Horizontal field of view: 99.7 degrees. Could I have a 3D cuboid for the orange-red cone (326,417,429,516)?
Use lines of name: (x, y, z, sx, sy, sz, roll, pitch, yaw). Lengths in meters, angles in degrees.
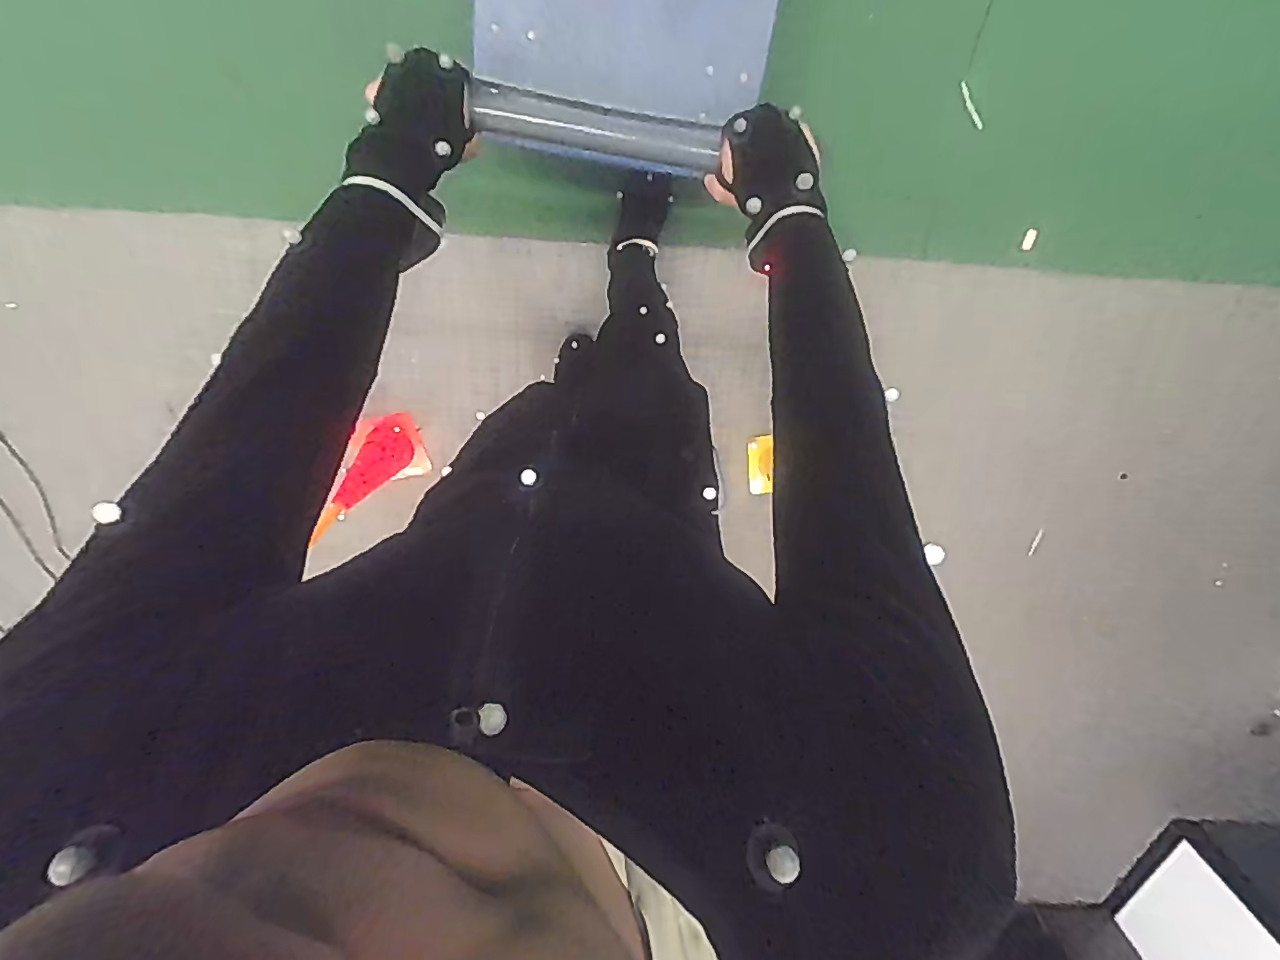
orange-red cone: (-0.741, -0.007, 1.452, 0.199, 0.360, 0.198, -10, 117, 4)
